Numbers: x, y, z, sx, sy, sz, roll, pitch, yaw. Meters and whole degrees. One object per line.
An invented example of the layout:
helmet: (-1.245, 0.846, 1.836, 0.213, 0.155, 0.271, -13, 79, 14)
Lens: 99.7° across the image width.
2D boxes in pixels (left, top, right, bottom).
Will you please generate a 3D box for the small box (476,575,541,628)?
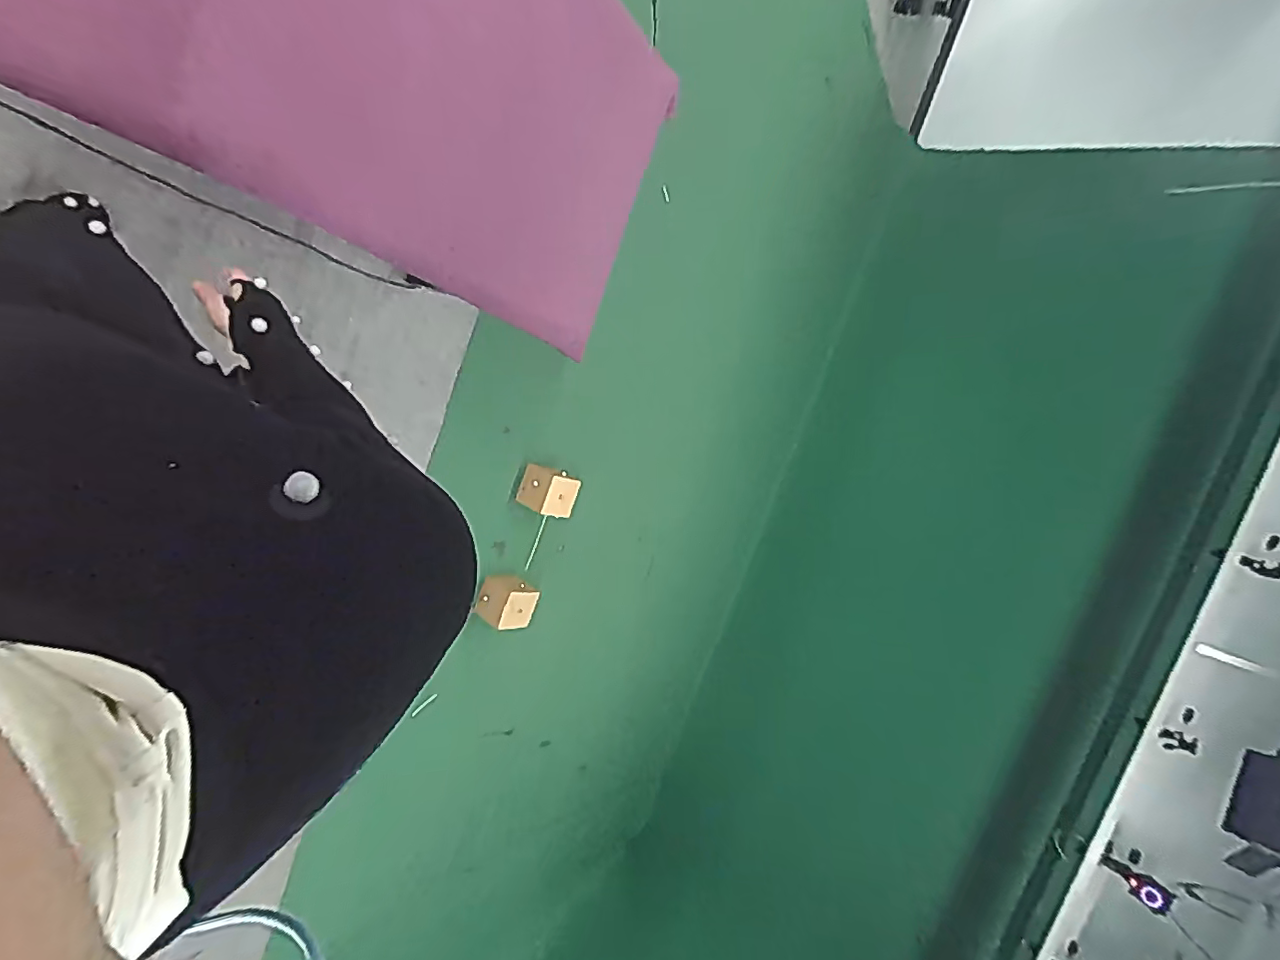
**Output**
small box: (-0.561, 0.512, 2.296, 0.179, 0.176, 0.168, 16, 95, -56)

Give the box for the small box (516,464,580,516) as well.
small box: (-0.390, 0.040, 2.270, 0.179, 0.176, 0.168, 14, 97, -57)
